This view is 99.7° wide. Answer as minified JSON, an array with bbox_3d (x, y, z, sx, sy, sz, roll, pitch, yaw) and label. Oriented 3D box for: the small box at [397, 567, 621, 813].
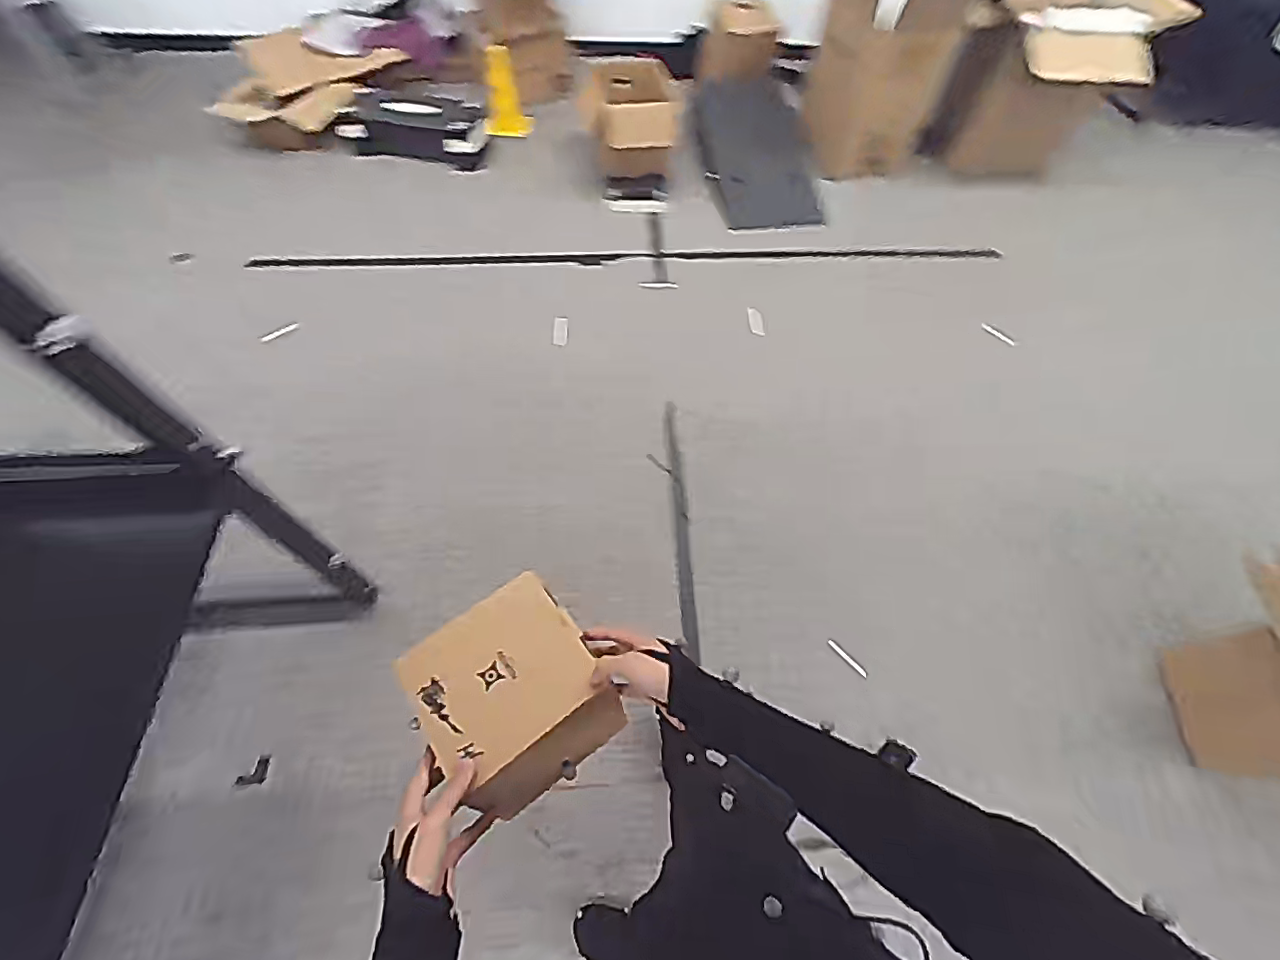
[{"bbox_3d":[-0.133,0.237,0.610,0.179,0.176,0.168,-32,56,-19],"label":"small box"}]
